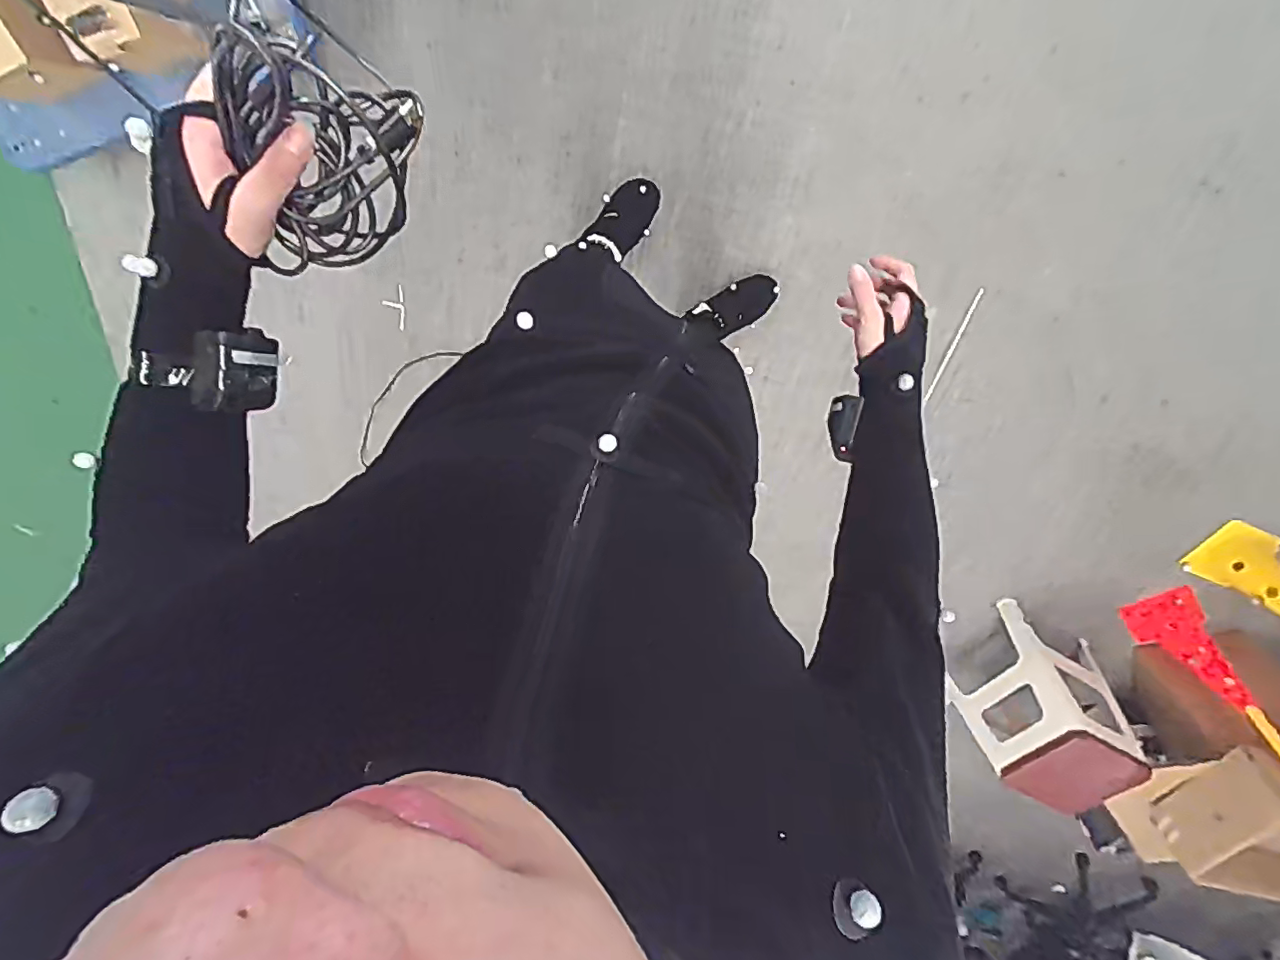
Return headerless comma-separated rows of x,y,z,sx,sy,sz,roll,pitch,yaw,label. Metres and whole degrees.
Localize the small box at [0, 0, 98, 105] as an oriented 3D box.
-1.279,-0.892,1.098,0.179,0.176,0.168,-13,117,15,small box
